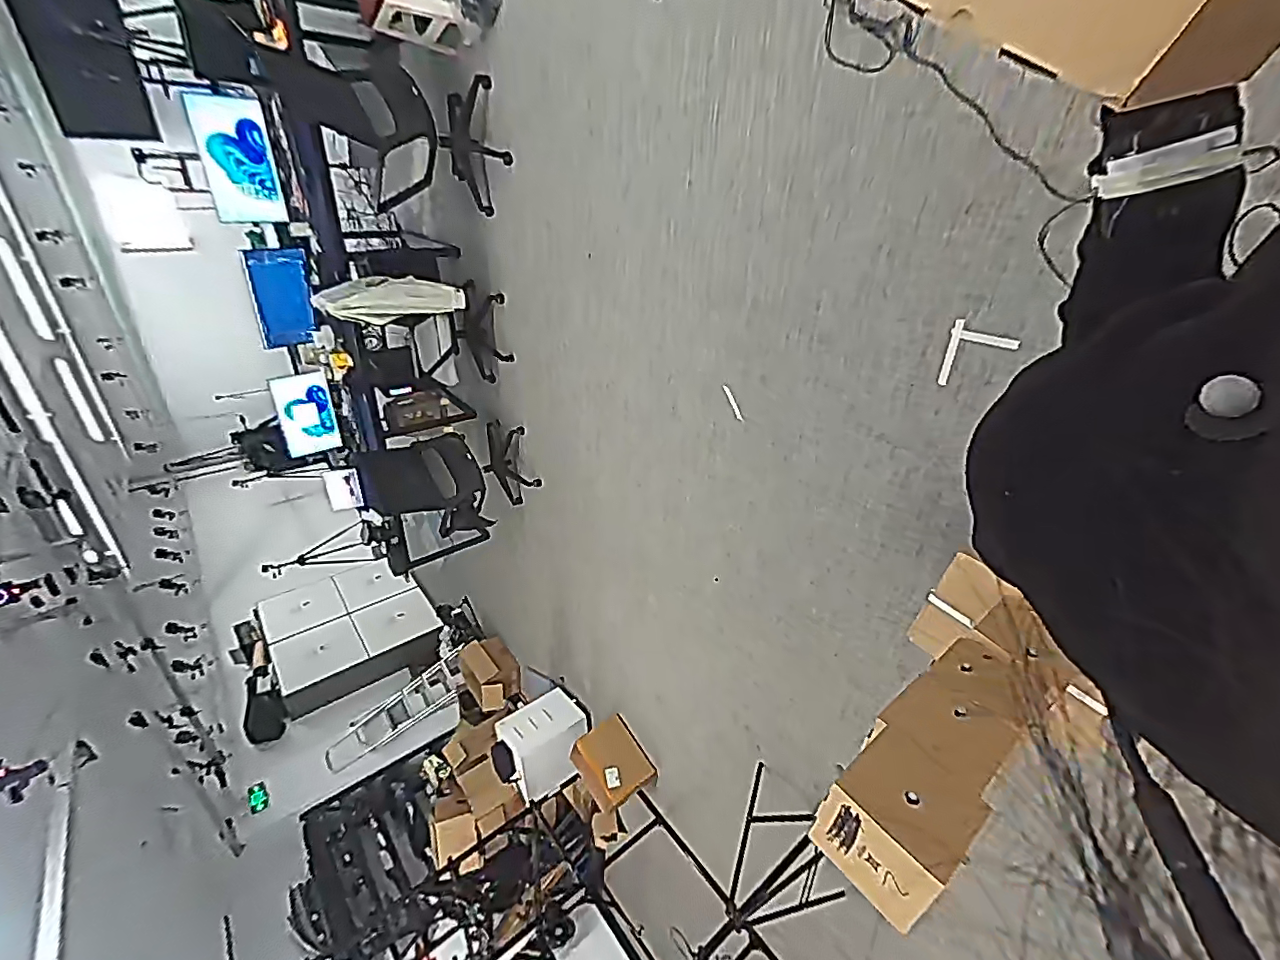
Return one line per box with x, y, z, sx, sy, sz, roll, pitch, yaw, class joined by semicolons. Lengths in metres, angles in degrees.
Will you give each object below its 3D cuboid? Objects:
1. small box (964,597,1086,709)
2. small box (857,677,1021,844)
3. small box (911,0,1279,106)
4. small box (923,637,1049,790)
0.779;0.377;1.136;0.179;0.176;0.168;42;137;35;small box
0.525;0.481;0.960;0.179;0.176;0.168;34;132;42;small box
0.229;-0.290;0.215;0.168;0.176;0.179;52;153;23;small box
0.656;0.440;1.049;0.168;0.176;0.179;27;128;46;small box
